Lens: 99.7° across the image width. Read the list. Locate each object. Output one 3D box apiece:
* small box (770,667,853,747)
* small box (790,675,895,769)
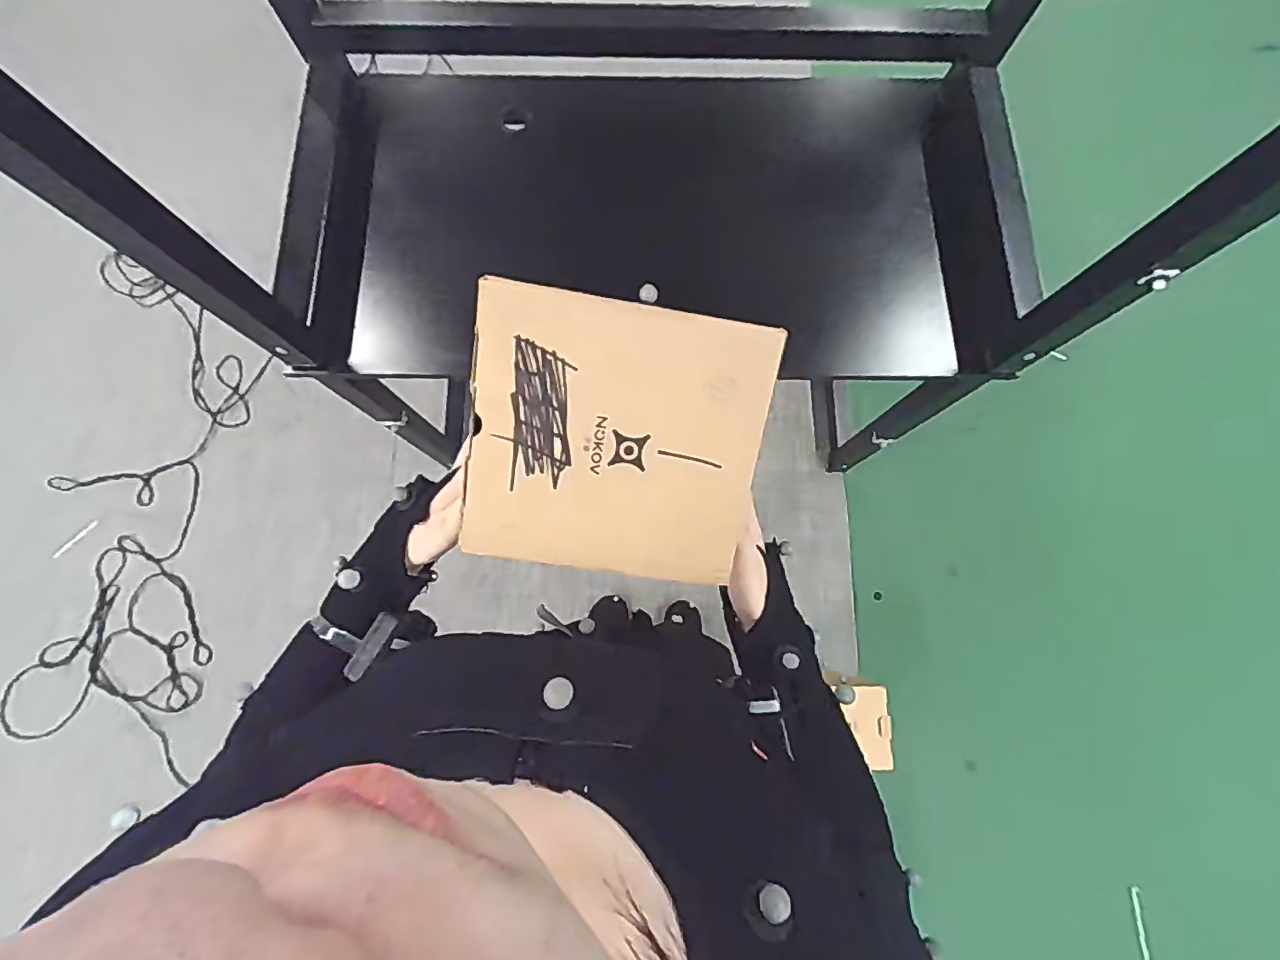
[{"bbox_3d":[0.432,0.569,1.367,0.179,0.176,0.168,-1,77,0],"label":"small box"},{"bbox_3d":[0.440,0.534,1.209,0.179,0.176,0.168,0,77,-1],"label":"small box"}]
